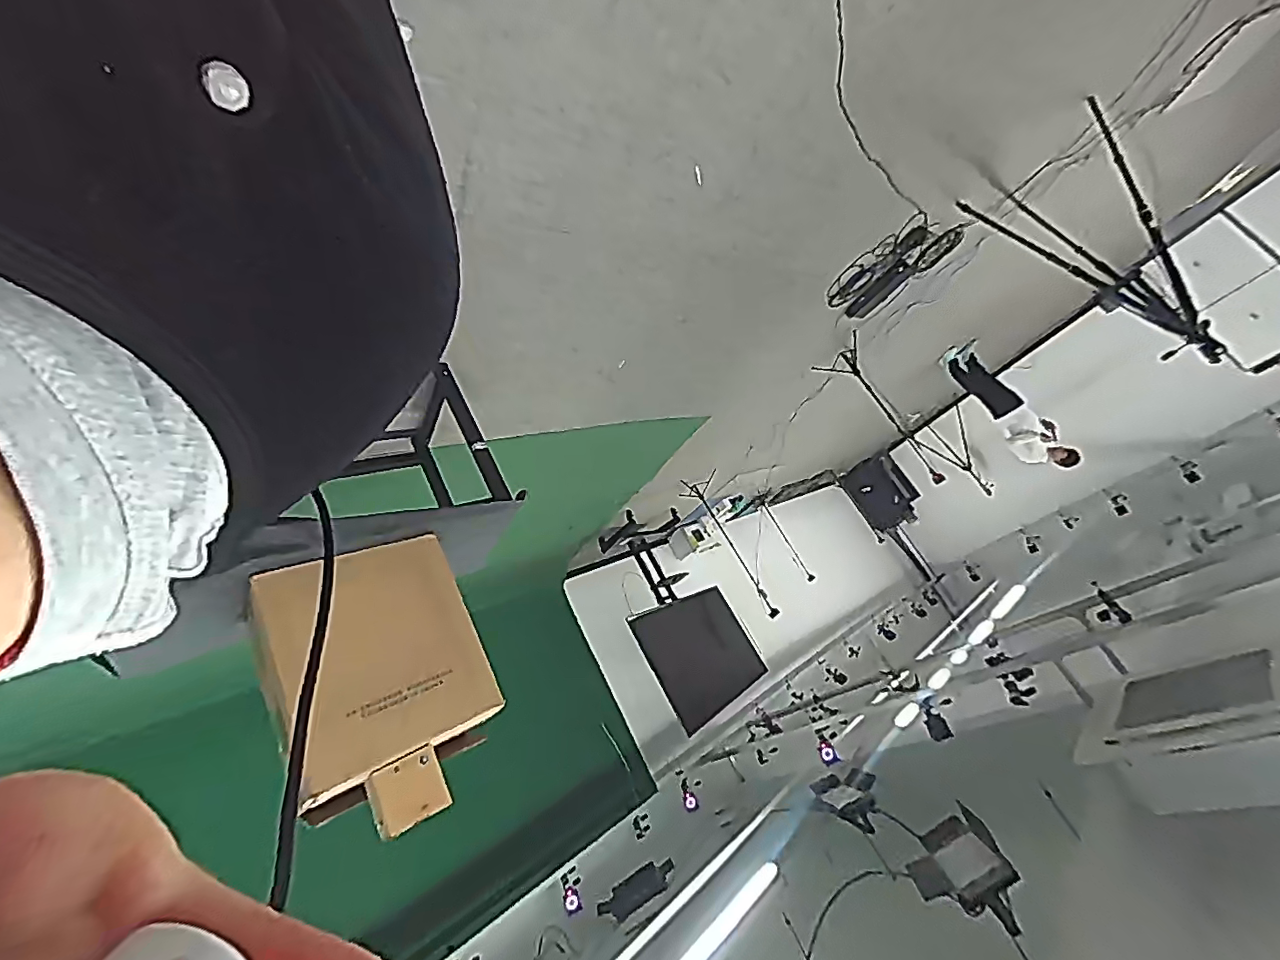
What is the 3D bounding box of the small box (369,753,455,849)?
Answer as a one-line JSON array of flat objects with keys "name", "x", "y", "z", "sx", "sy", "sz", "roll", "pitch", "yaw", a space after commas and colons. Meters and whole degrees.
[{"name": "small box", "x": -0.642, "y": 0.893, "z": 1.512, "sx": 0.168, "sy": 0.176, "sz": 0.179, "roll": -13, "pitch": 156, "yaw": -39}]
